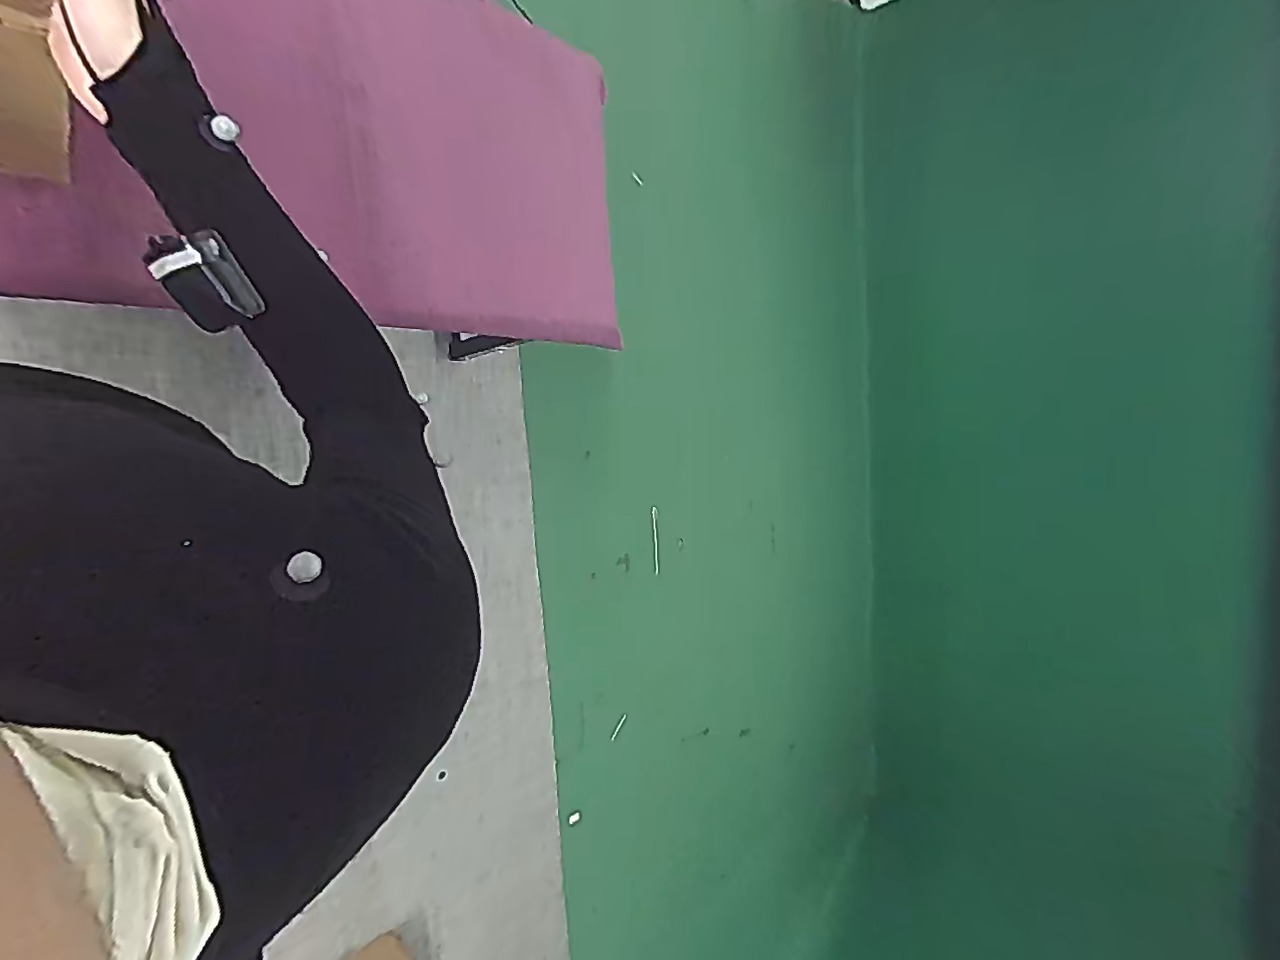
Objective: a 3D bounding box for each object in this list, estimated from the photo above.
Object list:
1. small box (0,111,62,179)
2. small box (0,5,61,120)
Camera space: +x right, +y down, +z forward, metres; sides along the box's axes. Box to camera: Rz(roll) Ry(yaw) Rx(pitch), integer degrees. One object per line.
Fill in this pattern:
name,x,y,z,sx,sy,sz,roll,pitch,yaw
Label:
small box,-0.692,-0.428,0.521,0.168,0.176,0.179,-12,100,-45
small box,-0.574,-0.417,0.408,0.168,0.176,0.179,-12,98,-45
